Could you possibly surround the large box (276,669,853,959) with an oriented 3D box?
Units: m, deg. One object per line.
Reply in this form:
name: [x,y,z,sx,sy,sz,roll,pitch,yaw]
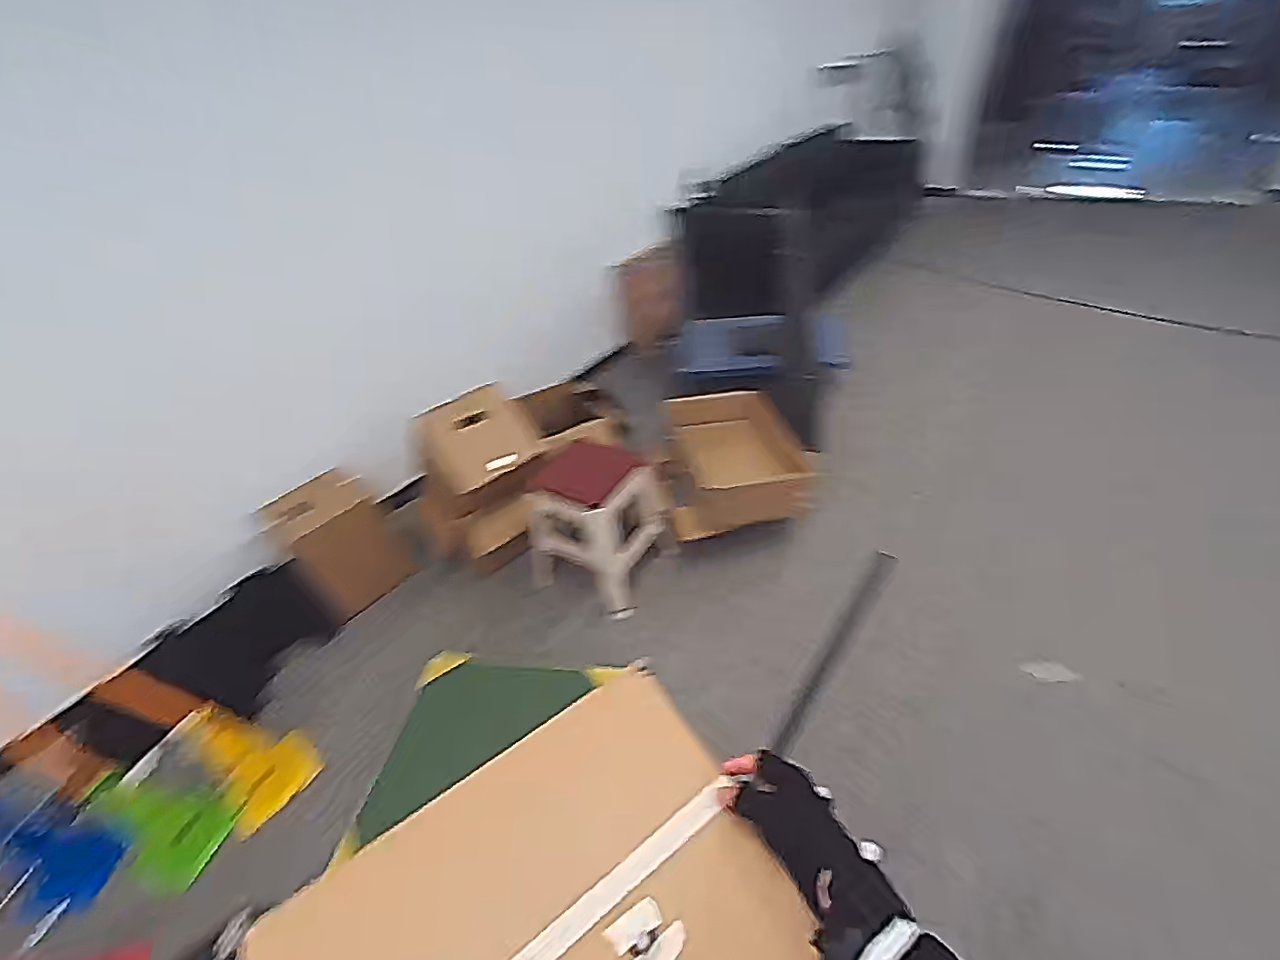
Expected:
large box: [-0.064,0.492,0.559,0.408,0.320,0.320,-27,51,-23]
